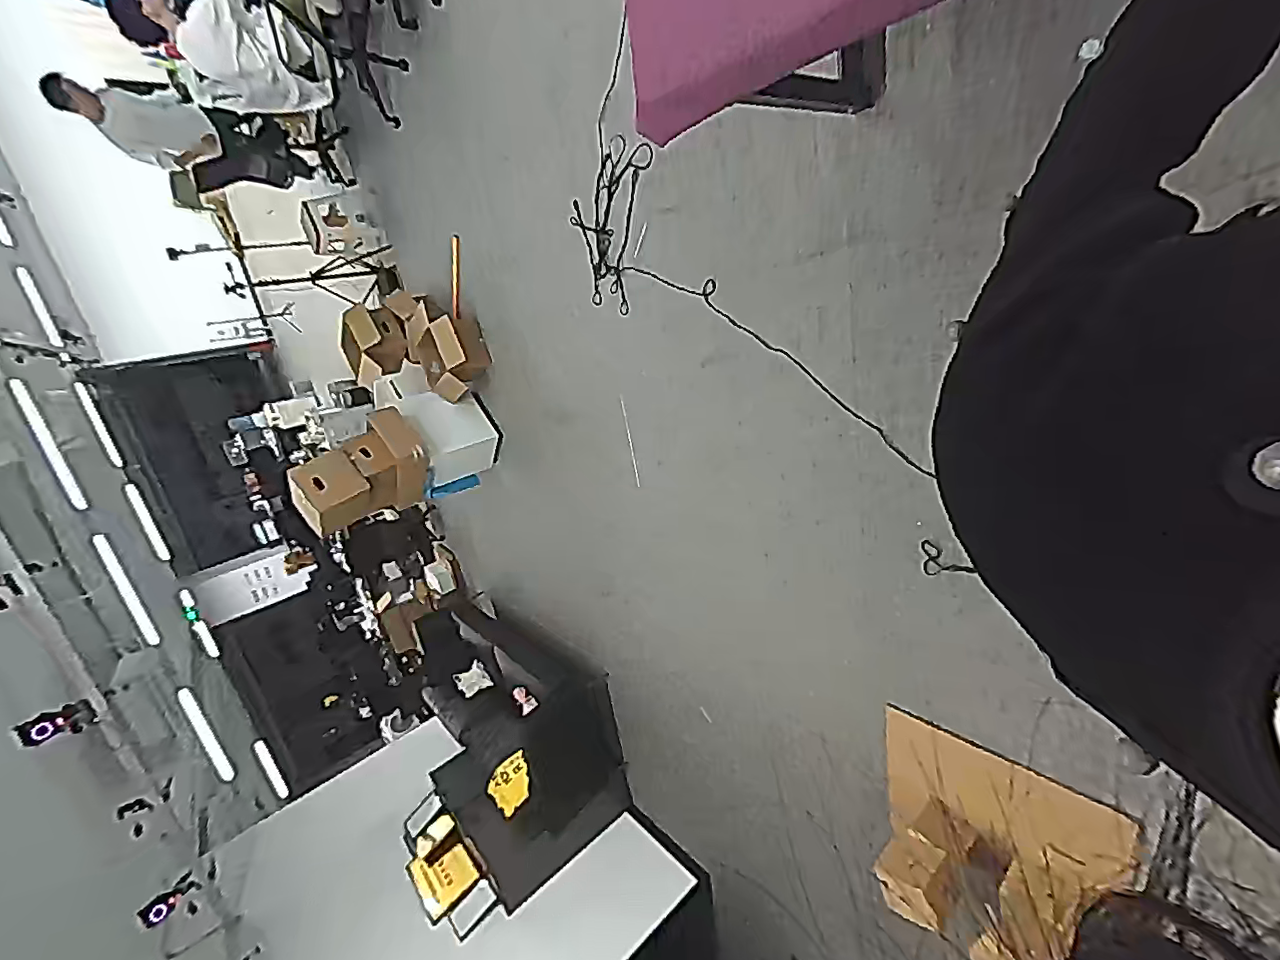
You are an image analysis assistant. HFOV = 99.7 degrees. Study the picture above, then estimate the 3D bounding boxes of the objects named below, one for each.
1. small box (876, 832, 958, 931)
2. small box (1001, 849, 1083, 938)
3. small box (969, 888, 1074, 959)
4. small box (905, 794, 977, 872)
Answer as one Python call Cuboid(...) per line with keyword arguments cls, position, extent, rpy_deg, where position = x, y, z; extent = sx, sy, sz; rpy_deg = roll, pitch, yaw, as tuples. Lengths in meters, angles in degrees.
Cuboid(cls="small box", position=(0.918, 1.308, 1.779), extent=(0.179, 0.176, 0.168), rpy_deg=(-15, 98, 54))
Cuboid(cls="small box", position=(1.226, 1.290, 1.654), extent=(0.168, 0.176, 0.179), rpy_deg=(15, 122, 49))
Cuboid(cls="small box", position=(1.102, 1.342, 1.560), extent=(0.179, 0.176, 0.168), rpy_deg=(34, 135, 39))
Cuboid(cls="small box", position=(1.033, 1.243, 1.877), extent=(0.168, 0.176, 0.179), rpy_deg=(33, 134, 38))
